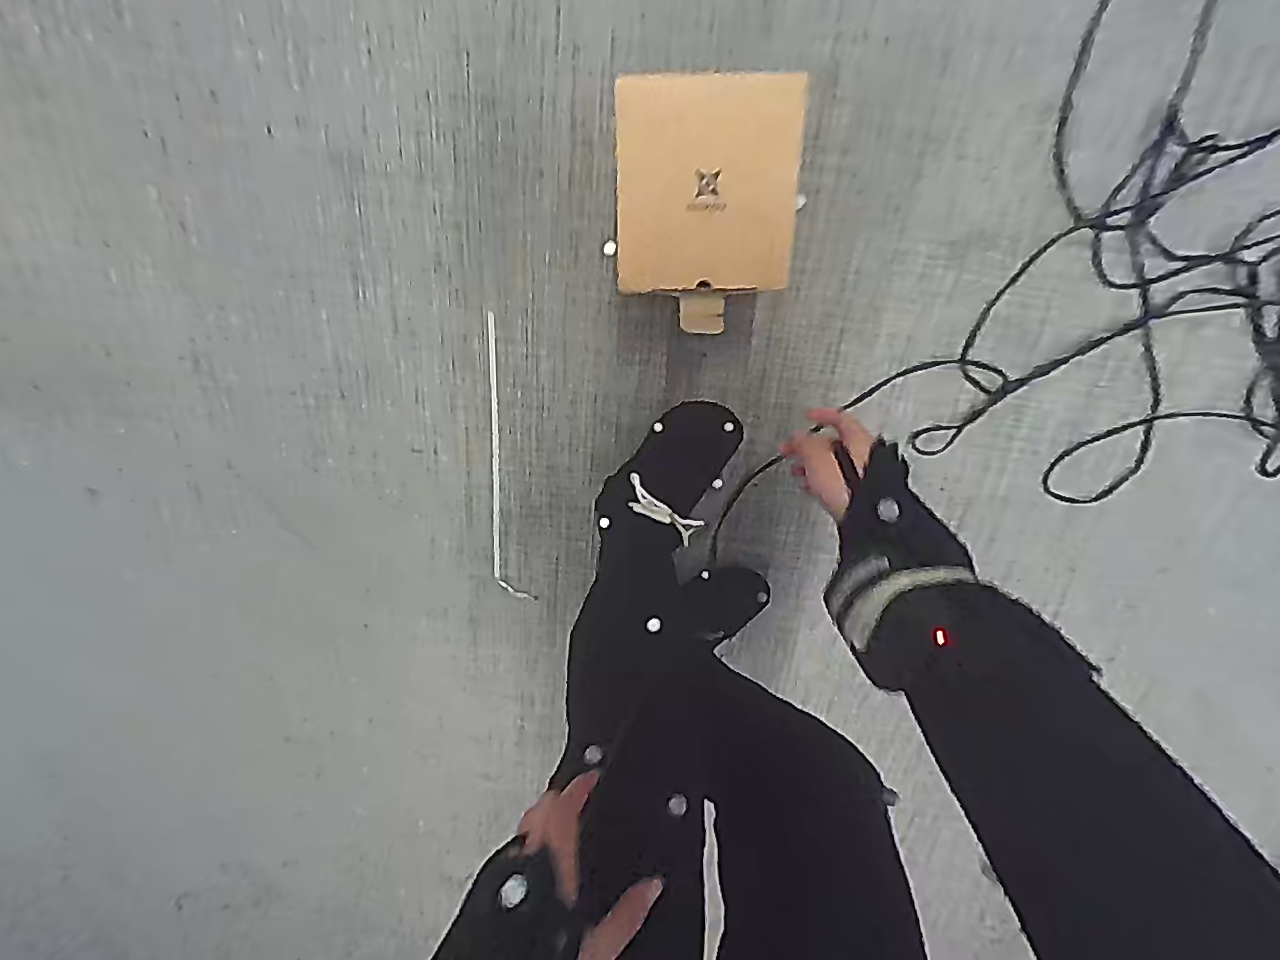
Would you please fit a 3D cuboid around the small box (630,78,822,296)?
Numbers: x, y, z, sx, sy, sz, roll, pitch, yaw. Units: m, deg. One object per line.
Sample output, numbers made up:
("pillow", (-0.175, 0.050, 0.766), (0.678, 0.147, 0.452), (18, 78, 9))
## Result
("small box", (0.073, -0.289, 0.563), (0.168, 0.176, 0.179), (0, 113, 0))
